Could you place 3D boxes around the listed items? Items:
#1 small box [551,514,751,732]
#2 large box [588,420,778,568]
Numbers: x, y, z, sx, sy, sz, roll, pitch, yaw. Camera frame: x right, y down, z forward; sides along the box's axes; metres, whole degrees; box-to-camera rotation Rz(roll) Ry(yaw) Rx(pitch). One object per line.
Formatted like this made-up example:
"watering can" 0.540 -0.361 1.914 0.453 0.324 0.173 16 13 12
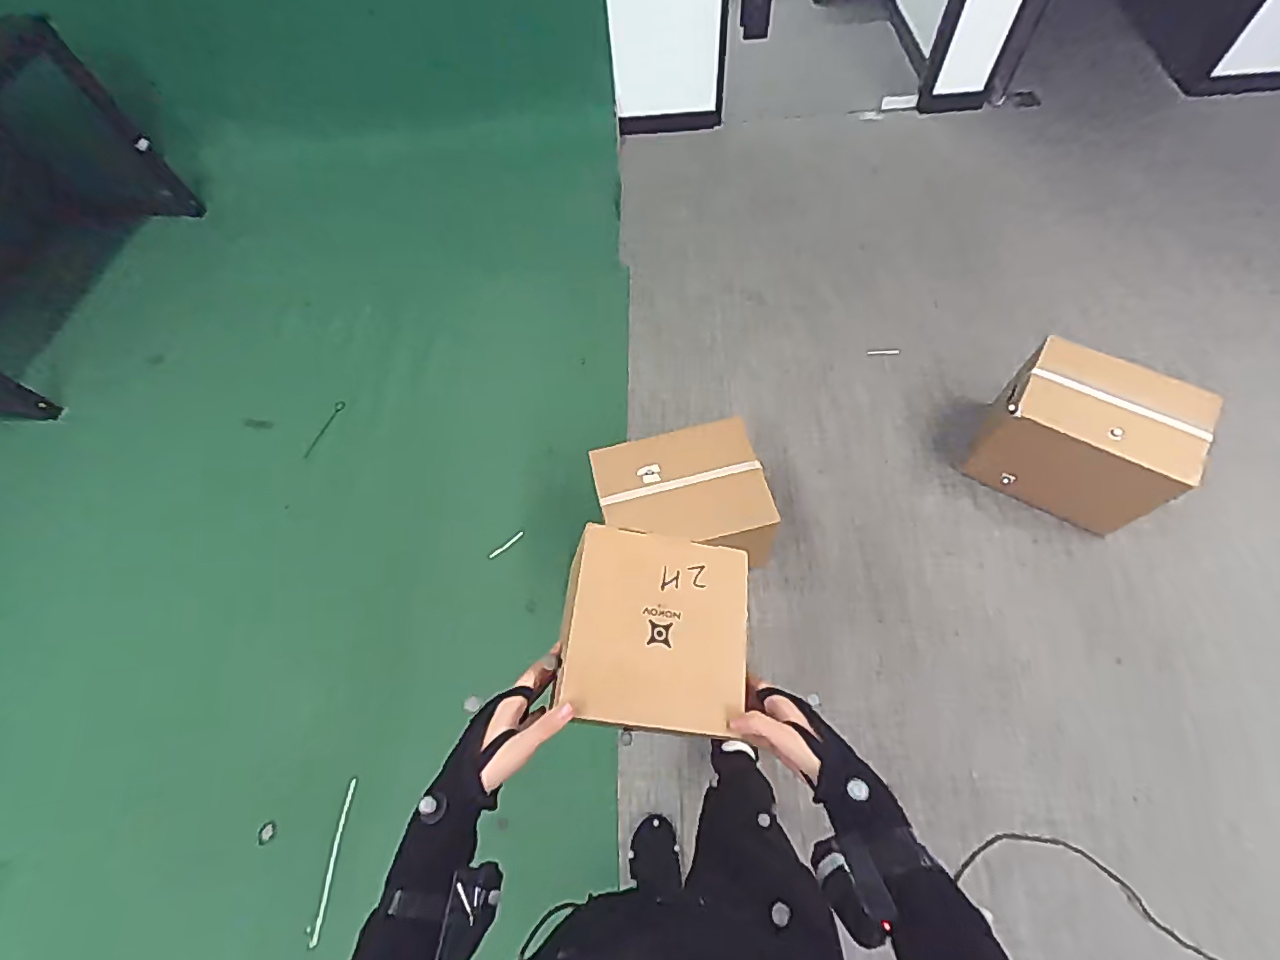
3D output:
"small box" 0.004 0.158 0.563 0.168 0.176 0.179 12 63 -9
"large box" 0.105 0.090 1.439 0.408 0.320 0.320 -14 60 -3
